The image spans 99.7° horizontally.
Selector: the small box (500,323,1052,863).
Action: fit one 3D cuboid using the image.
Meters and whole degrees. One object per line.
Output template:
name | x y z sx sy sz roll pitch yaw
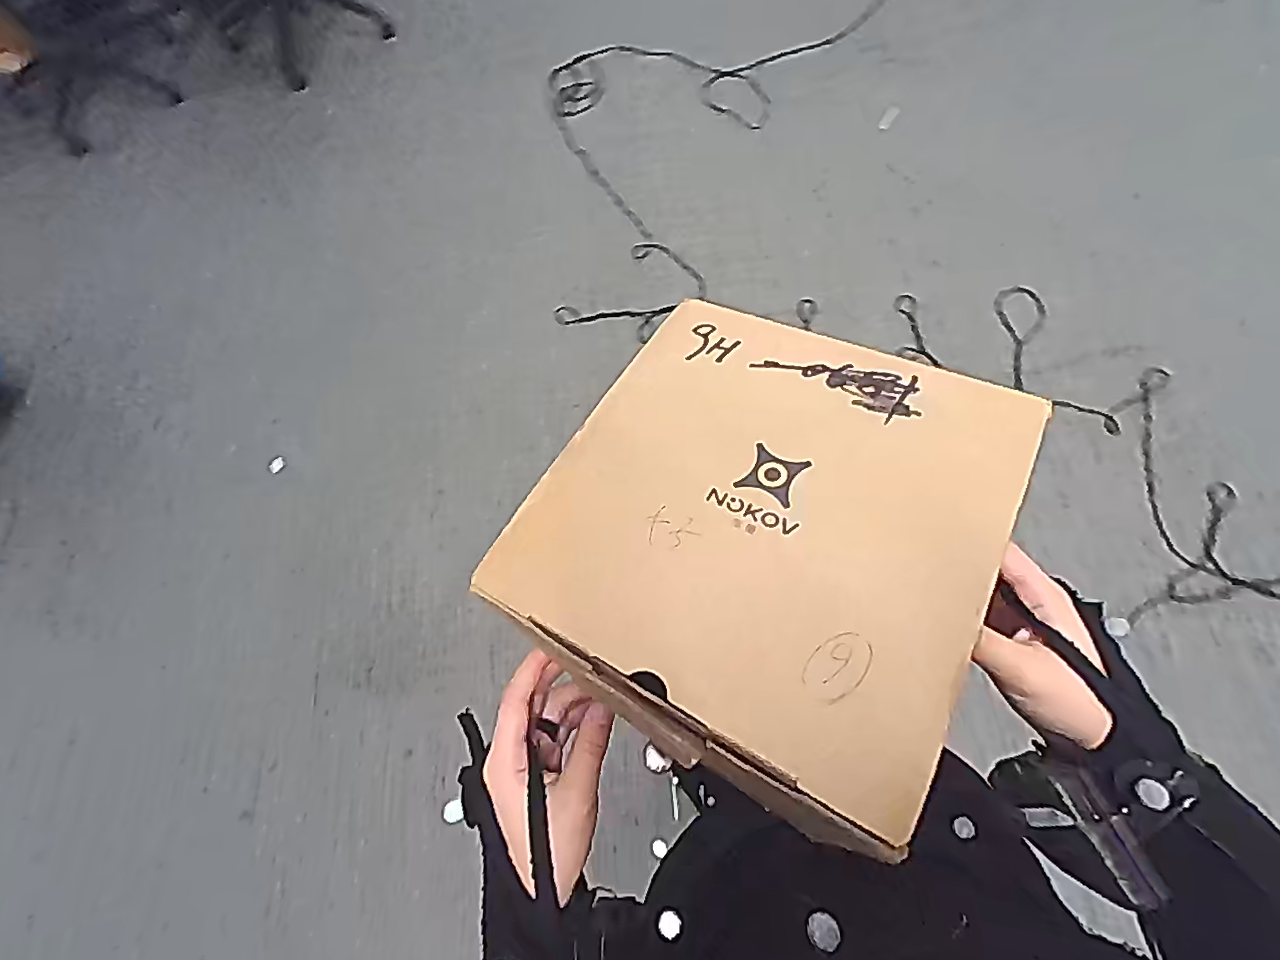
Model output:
small box | 0.066 0.056 0.285 0.168 0.176 0.179 25 66 23
